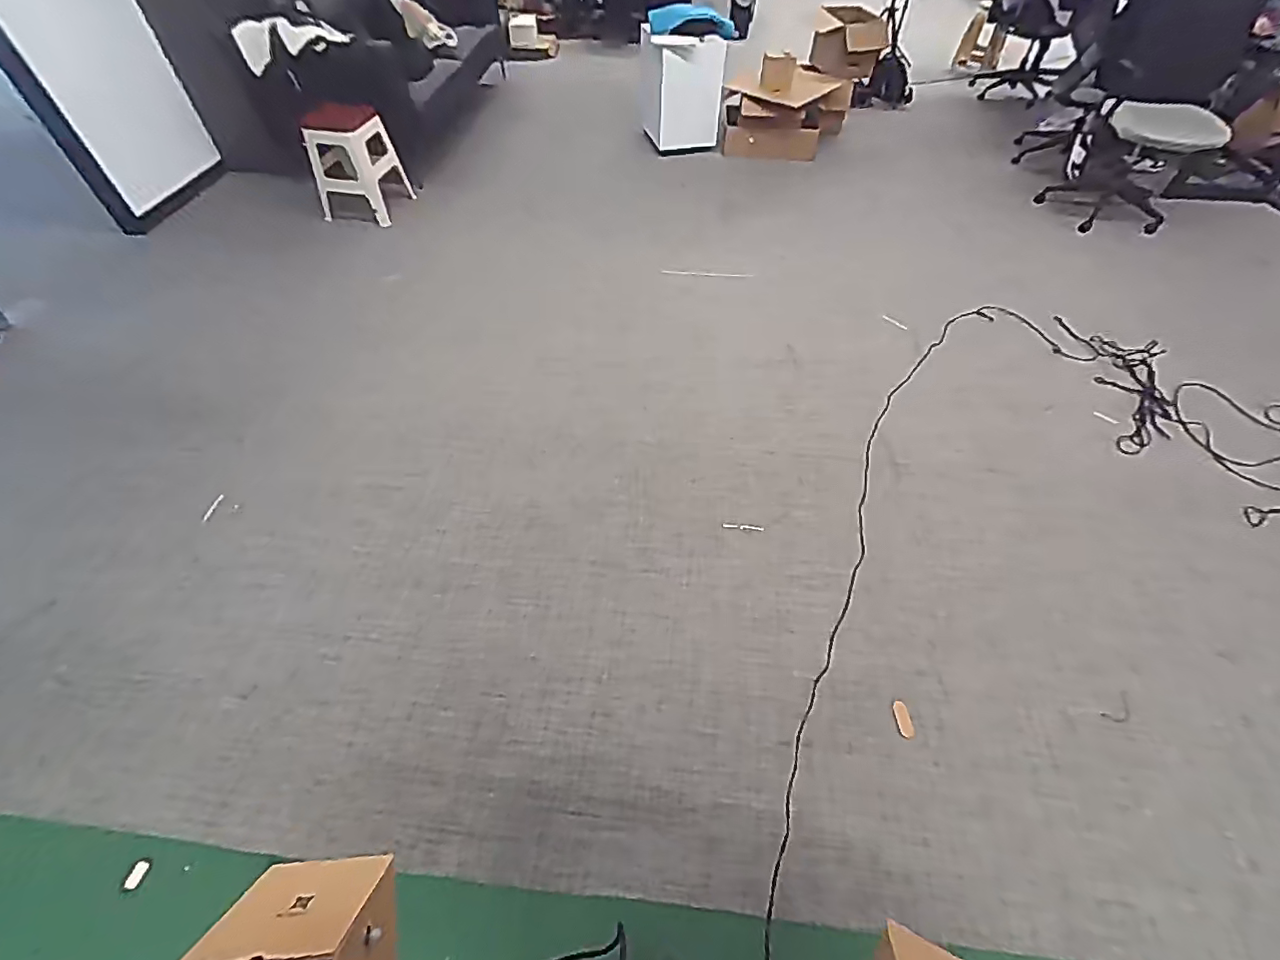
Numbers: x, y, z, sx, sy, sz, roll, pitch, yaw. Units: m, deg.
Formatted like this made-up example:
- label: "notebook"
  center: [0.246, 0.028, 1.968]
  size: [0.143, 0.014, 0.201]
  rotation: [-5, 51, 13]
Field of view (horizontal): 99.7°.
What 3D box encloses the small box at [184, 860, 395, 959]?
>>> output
- label: "small box"
  center: [-0.412, 0.602, 0.651]
  size: [0.168, 0.179, 0.176]
  rotation: [-2, 87, -4]
